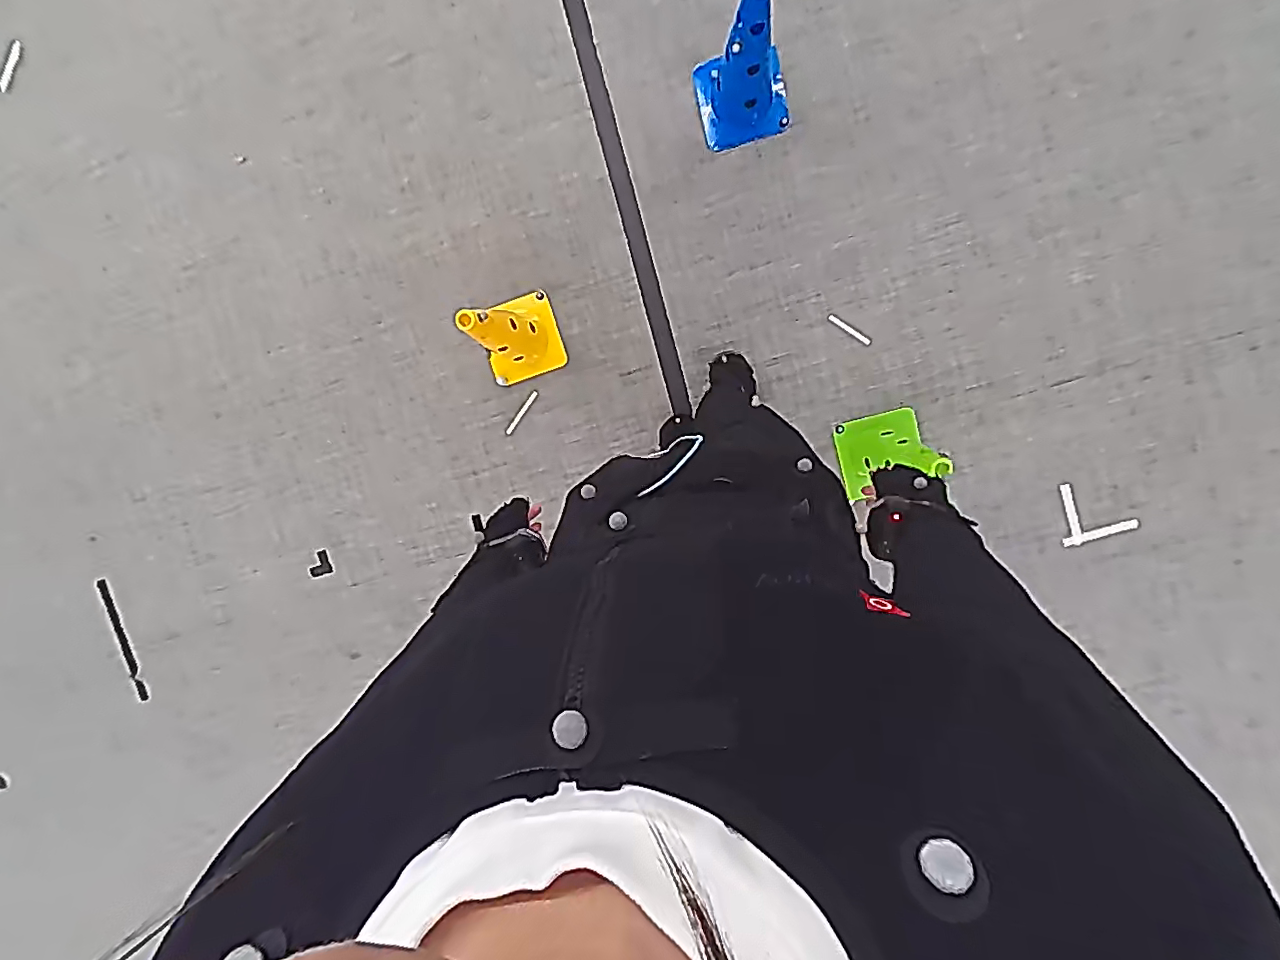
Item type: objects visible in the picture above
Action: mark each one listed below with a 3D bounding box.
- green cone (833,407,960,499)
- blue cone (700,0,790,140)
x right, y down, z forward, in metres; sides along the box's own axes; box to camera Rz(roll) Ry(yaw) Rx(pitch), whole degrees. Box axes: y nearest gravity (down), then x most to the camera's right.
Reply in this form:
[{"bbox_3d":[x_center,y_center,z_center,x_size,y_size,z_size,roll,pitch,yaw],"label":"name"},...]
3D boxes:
[{"bbox_3d":[0.583,-0.042,1.178,0.202,0.368,0.200,-15,96,7],"label":"green cone"},{"bbox_3d":[0.231,-0.889,1.111,0.192,0.380,0.193,-11,97,6],"label":"blue cone"}]
